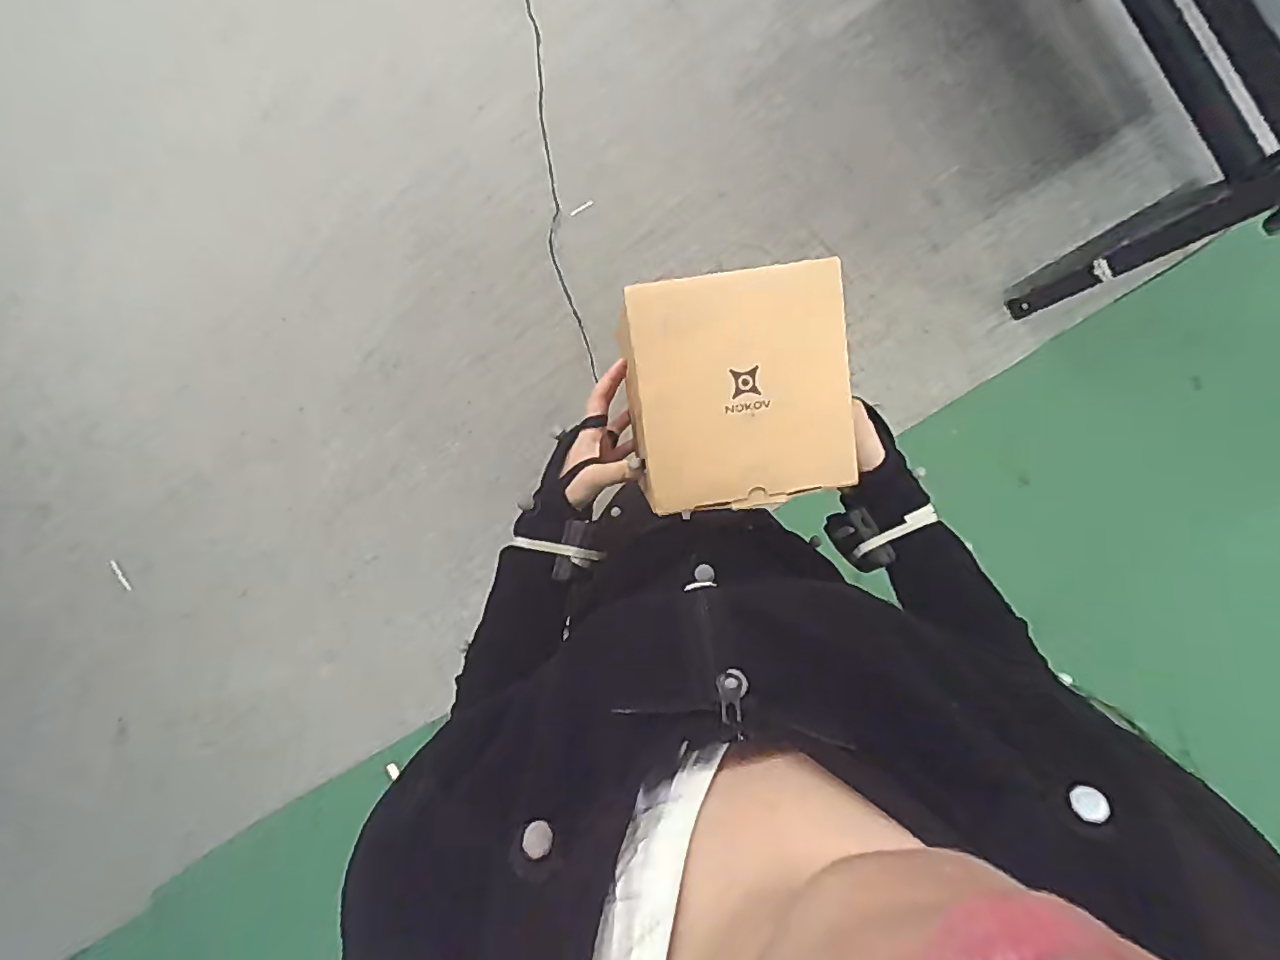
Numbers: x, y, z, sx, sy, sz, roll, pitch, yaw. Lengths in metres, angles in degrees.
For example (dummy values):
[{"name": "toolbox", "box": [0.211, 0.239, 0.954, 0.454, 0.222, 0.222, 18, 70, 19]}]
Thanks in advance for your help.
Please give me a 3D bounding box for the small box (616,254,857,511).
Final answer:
[{"name": "small box", "box": [0.072, -0.082, 0.488, 0.168, 0.176, 0.179, -9, 99, -3]}]
